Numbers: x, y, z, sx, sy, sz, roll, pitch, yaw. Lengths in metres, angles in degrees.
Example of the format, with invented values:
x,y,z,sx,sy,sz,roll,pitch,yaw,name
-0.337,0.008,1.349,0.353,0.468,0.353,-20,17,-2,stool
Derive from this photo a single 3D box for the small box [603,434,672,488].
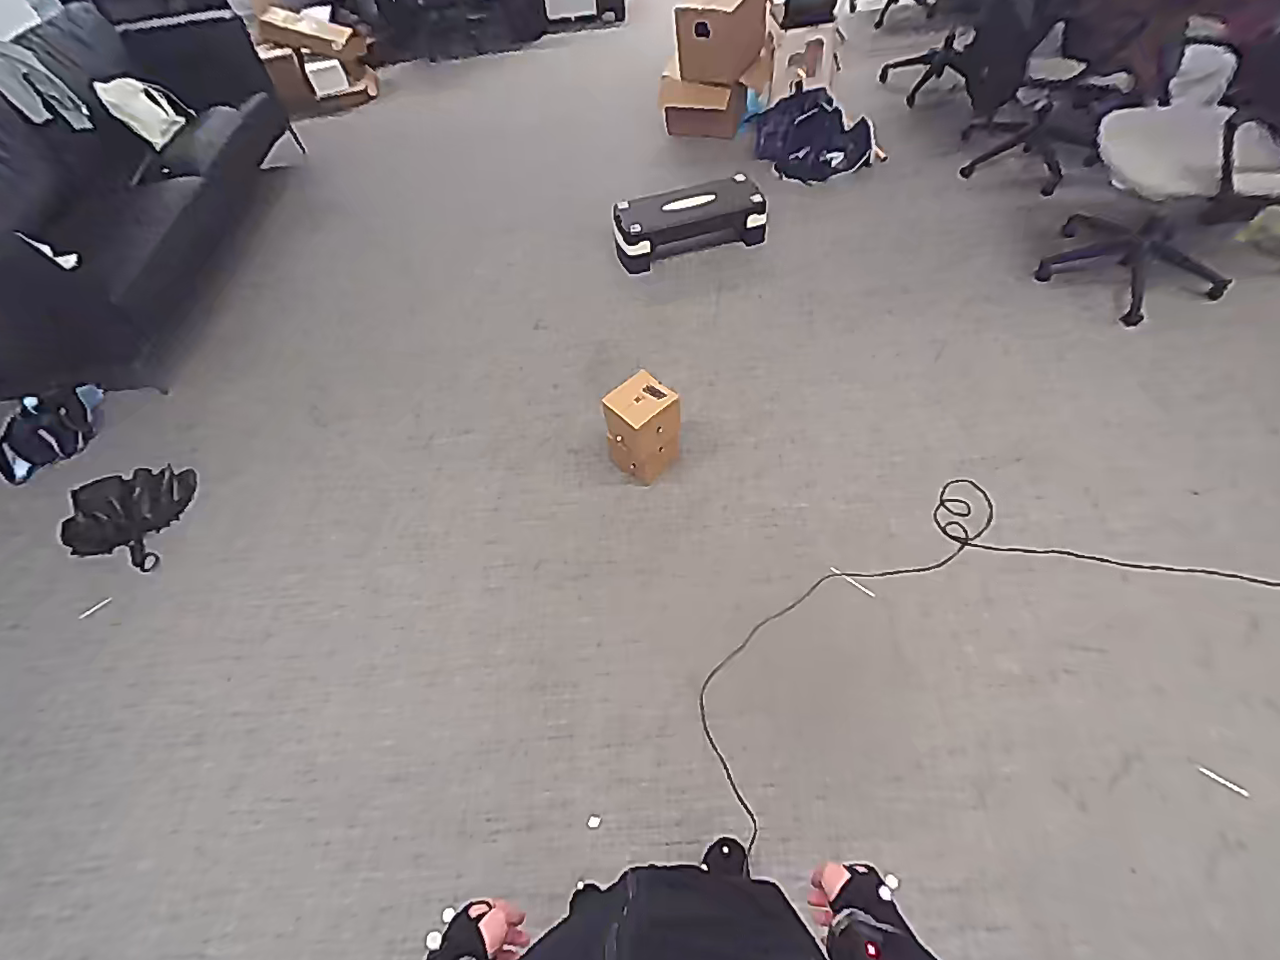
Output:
x,y,z,sx,sy,sz,roll,pitch,yaw,name
0.000,-0.103,1.838,0.168,0.176,0.179,33,64,24,small box

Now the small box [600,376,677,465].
x,y,z,sx,sy,sz,roll,pitch,yaw,name
-0.001,-0.184,1.694,0.179,0.176,0.168,-39,61,-18,small box
